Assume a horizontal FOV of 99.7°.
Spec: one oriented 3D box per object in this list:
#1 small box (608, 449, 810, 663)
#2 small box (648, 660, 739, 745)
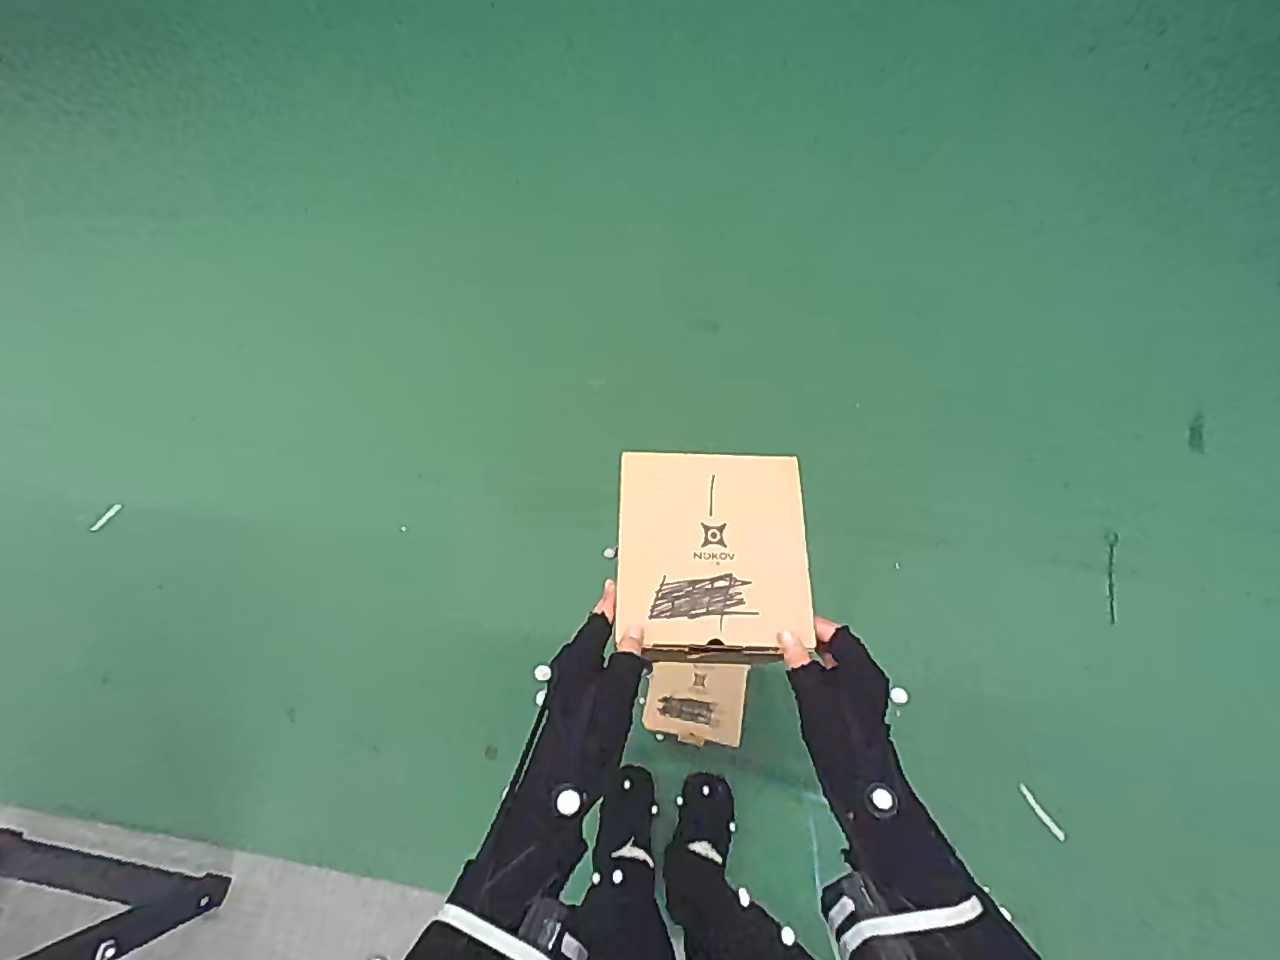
[{"bbox_3d":[0.057,0.085,0.537,0.168,0.176,0.179,2,66,-1],"label":"small box"},{"bbox_3d":[0.114,0.458,1.180,0.168,0.176,0.179,10,71,7],"label":"small box"}]
